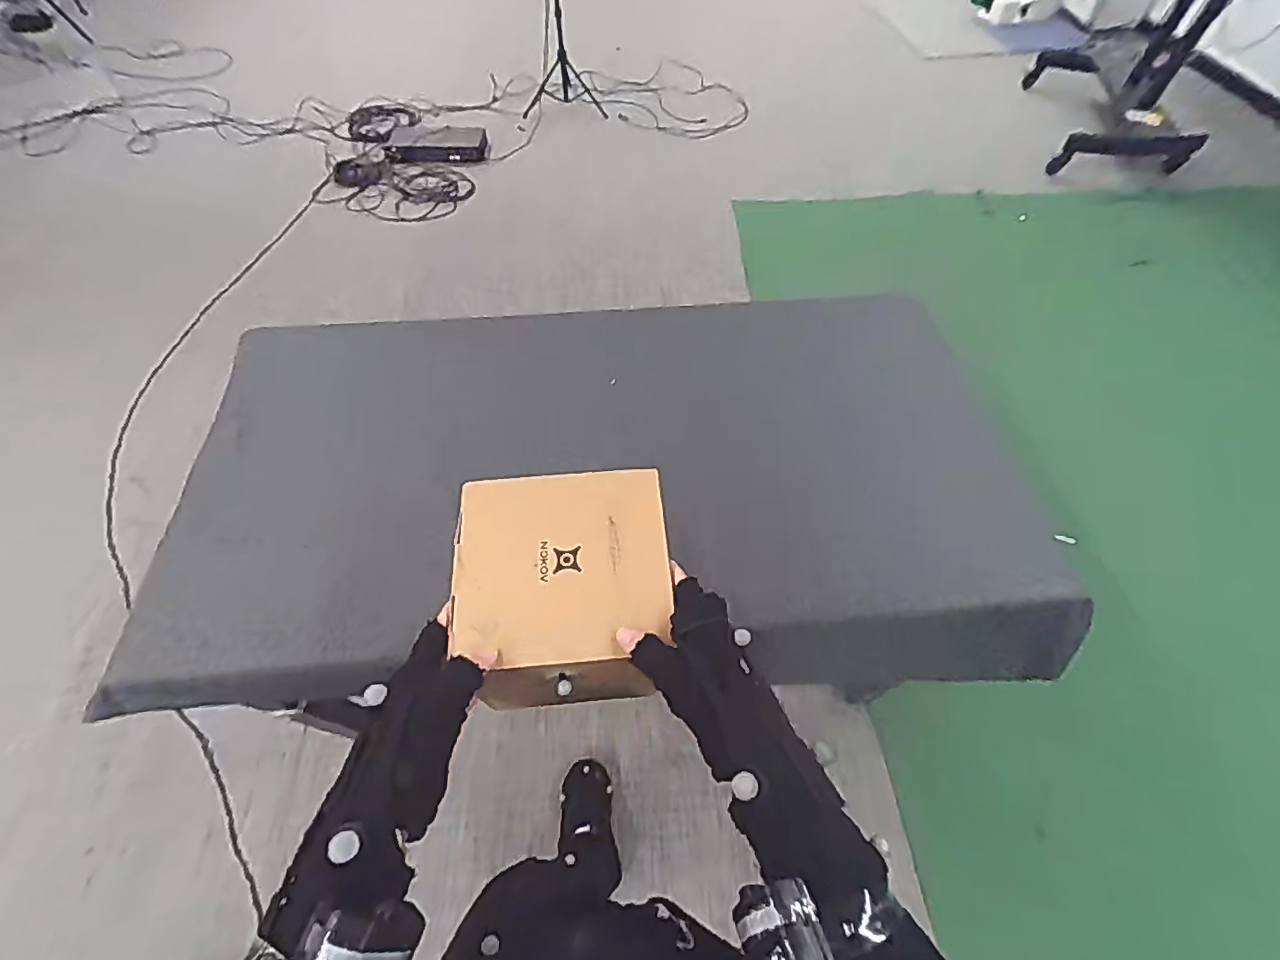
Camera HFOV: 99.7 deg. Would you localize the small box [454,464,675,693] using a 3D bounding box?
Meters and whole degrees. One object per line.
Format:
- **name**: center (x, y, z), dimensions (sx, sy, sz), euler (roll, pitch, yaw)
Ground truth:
- **small box**: center (-0.067, 0.102, 0.528), dimensions (0.179, 0.176, 0.168), euler (-4, 59, -5)
